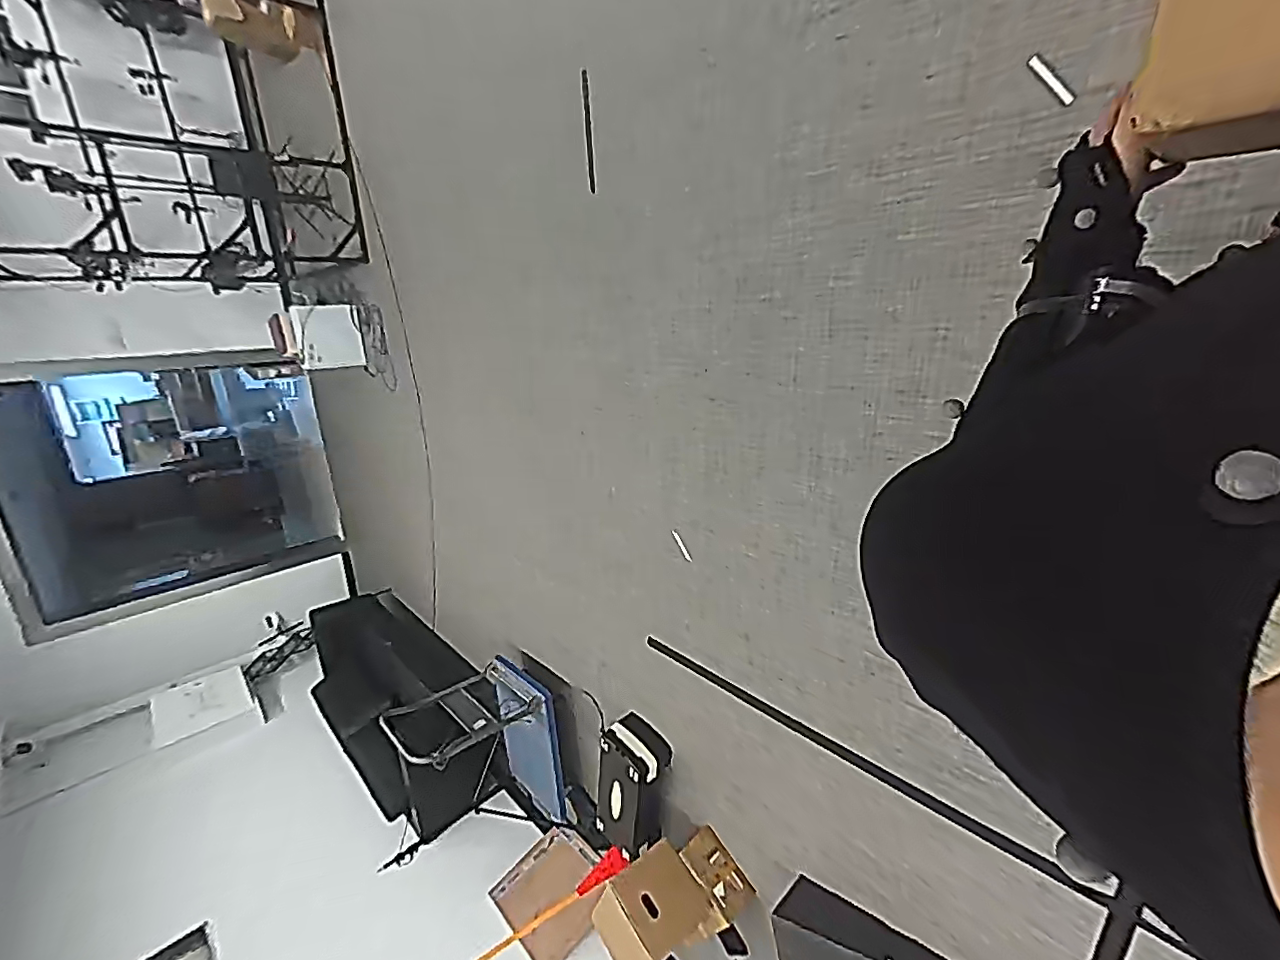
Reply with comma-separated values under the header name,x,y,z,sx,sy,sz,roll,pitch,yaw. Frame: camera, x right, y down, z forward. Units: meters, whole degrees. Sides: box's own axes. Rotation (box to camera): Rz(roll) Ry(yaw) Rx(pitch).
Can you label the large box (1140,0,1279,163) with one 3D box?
name,x,y,z,sx,sy,sz,roll,pitch,yaw
large box,0.451,-0.320,0.164,0.408,0.320,0.320,13,120,41
